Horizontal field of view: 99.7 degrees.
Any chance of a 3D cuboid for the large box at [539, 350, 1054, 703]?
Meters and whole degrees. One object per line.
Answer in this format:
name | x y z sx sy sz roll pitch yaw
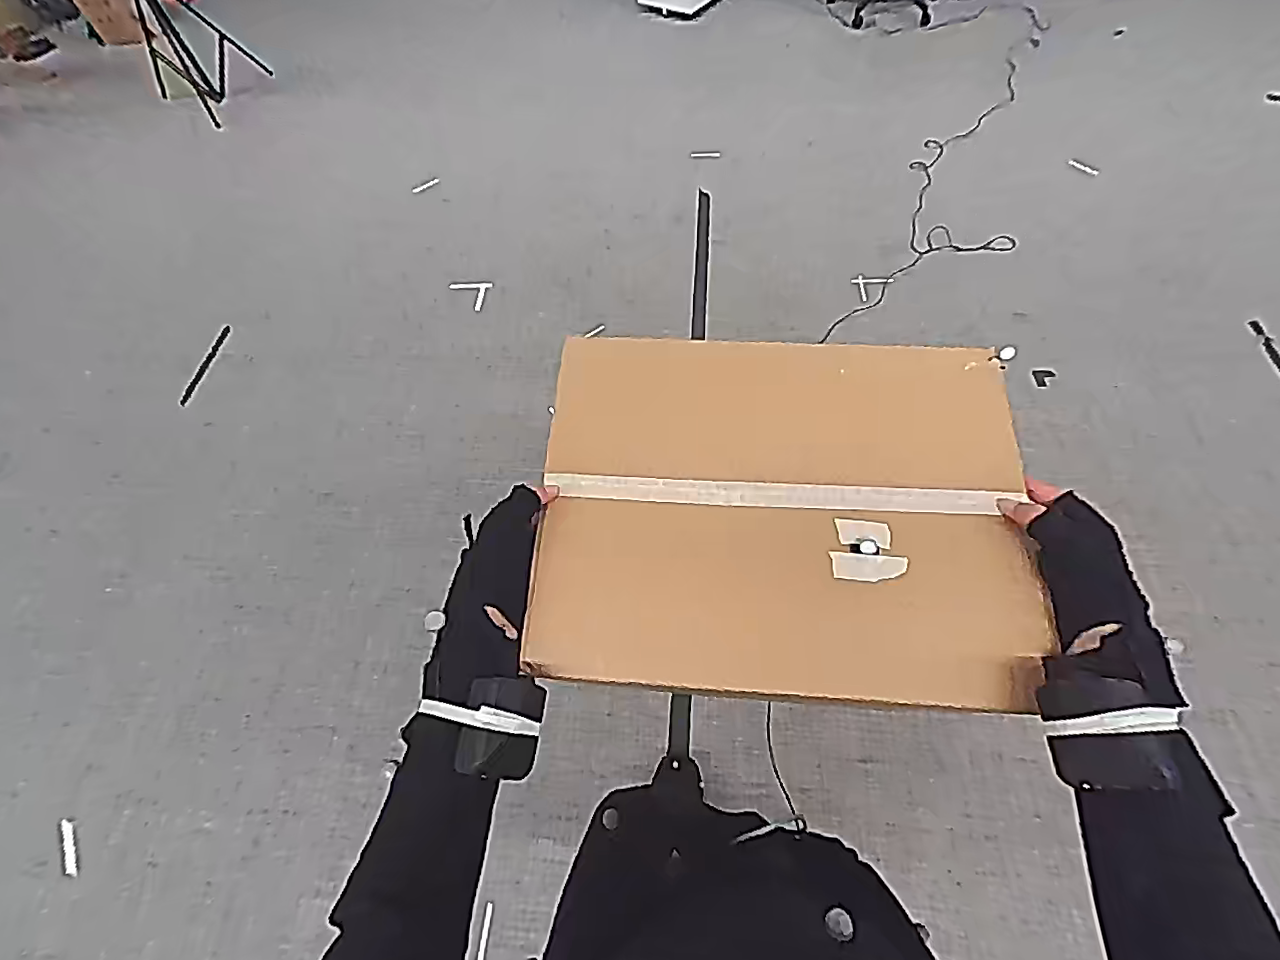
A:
large box | 0.127 0.074 0.608 0.408 0.320 0.320 3 69 3
